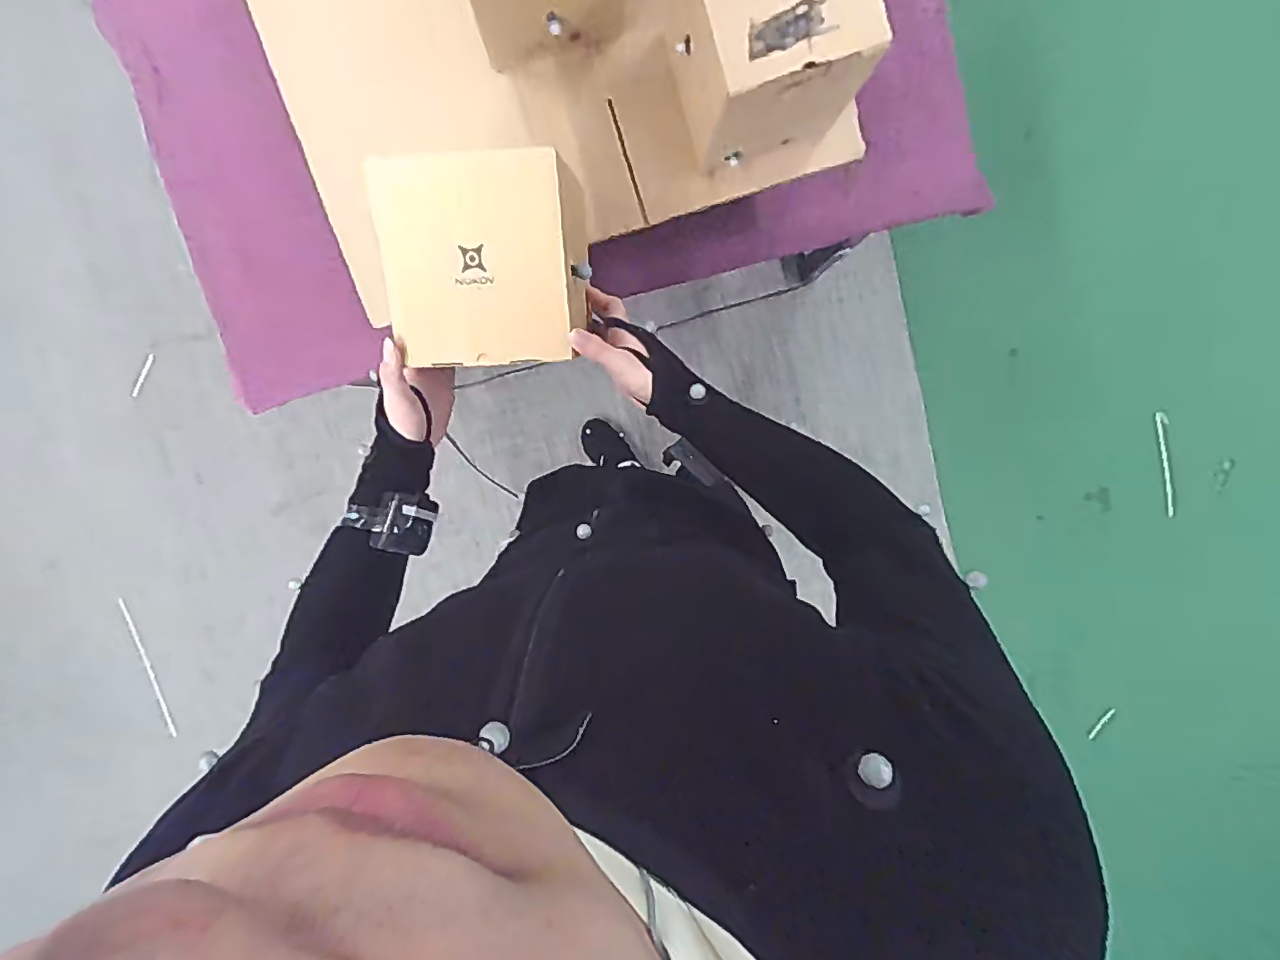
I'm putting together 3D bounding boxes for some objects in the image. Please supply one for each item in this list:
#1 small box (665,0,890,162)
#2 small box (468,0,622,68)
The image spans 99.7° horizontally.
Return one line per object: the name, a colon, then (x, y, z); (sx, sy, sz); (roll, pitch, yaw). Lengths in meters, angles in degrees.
small box: (0.132, -0.475, 0.580); (0.168, 0.176, 0.179); (-18, 96, 0)
small box: (-0.118, -0.584, 0.557); (0.168, 0.176, 0.179); (-17, 97, -1)
